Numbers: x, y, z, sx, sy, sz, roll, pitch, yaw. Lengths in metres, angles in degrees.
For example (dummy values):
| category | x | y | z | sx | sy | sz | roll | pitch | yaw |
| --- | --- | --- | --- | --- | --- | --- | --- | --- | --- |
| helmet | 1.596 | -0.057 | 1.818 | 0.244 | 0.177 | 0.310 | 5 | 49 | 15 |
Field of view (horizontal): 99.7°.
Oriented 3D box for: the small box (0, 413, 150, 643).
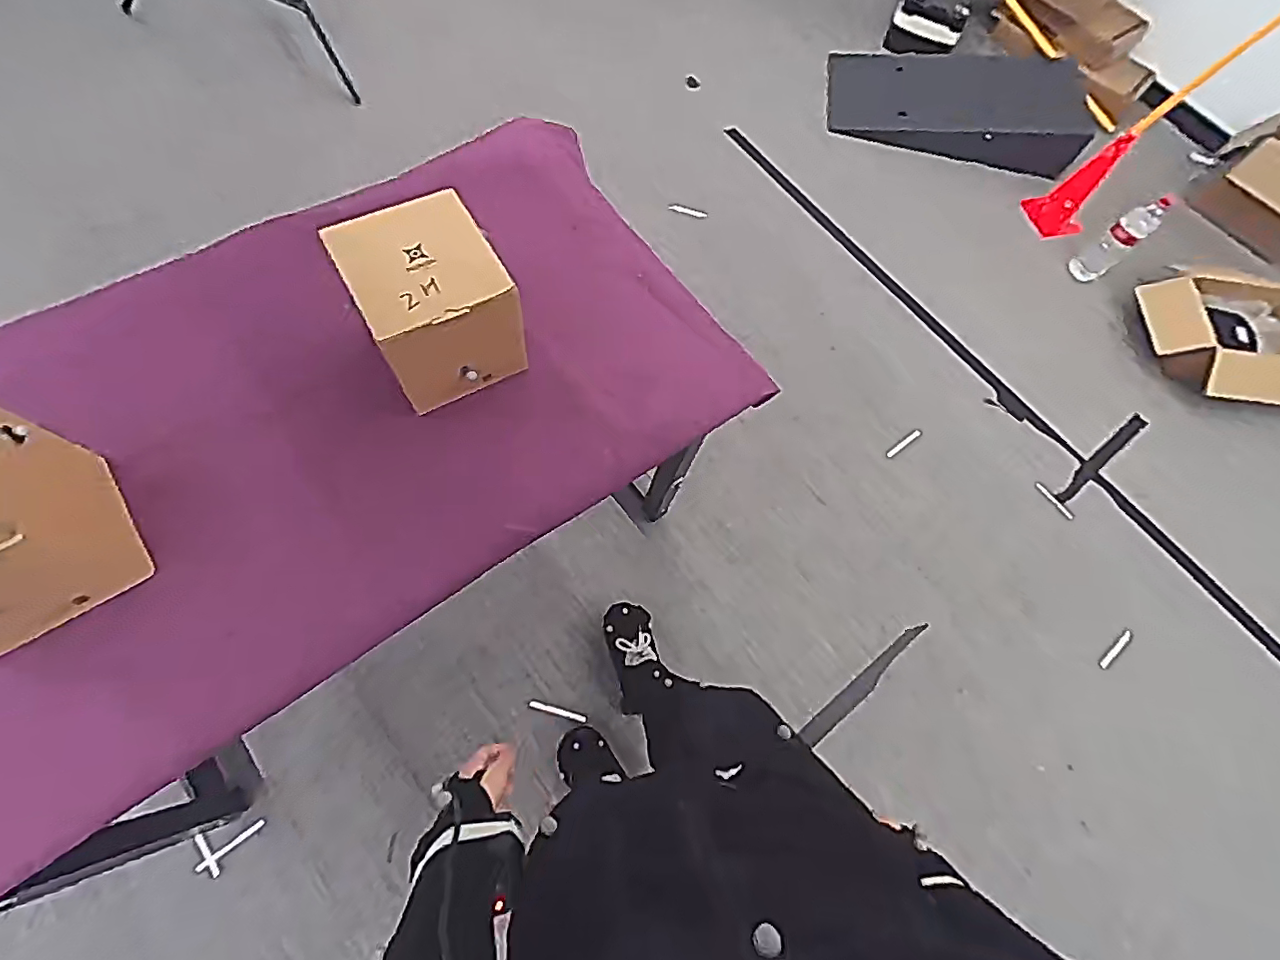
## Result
| category | x | y | z | sx | sy | sz | roll | pitch | yaw |
| --- | --- | --- | --- | --- | --- | --- | --- | --- | --- |
| small box | -0.653 | 0.051 | 0.538 | 0.168 | 0.176 | 0.179 | -33 | 76 | -18 |

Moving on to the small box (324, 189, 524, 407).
| category | x | y | z | sx | sy | sz | roll | pitch | yaw |
| --- | --- | --- | --- | --- | --- | --- | --- | --- | --- |
| small box | -0.263 | -0.226 | 0.696 | 0.168 | 0.176 | 0.179 | -28 | 75 | -16 |

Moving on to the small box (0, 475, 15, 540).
| category | x | y | z | sx | sy | sz | roll | pitch | yaw |
| --- | --- | --- | --- | --- | --- | --- | --- | --- | --- |
| small box | -0.637 | -0.014 | 0.388 | 0.168 | 0.176 | 0.179 | -33 | 75 | -18 |
